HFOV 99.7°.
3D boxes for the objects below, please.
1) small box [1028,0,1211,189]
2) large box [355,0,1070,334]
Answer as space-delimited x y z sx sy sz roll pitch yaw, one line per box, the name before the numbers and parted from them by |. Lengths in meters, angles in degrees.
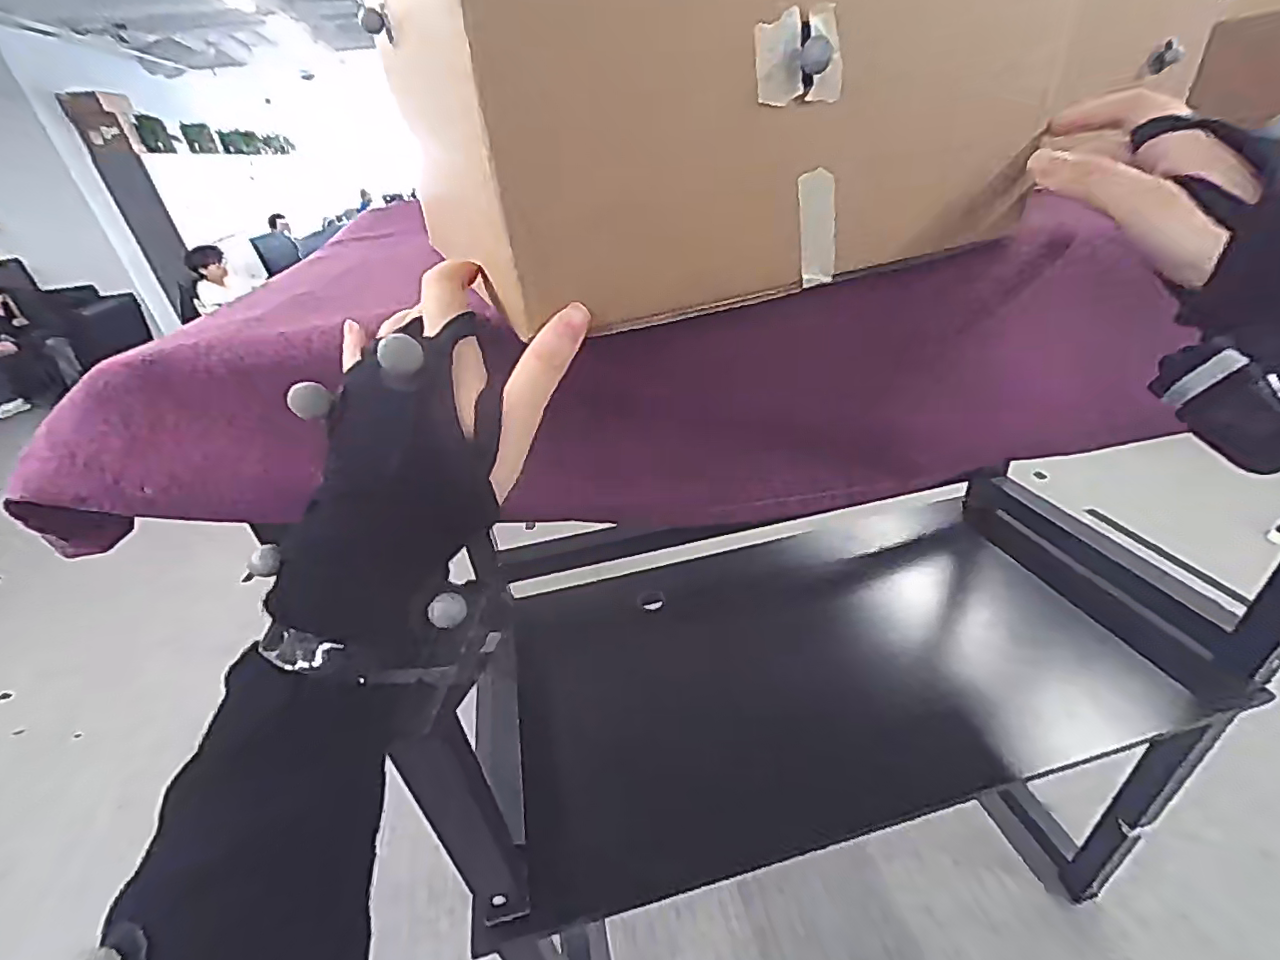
small box | 0.371 -0.381 0.515 0.179 0.176 0.168 -12 31 -8
large box | -0.007 -0.313 0.355 0.320 0.320 0.408 -18 32 -18
